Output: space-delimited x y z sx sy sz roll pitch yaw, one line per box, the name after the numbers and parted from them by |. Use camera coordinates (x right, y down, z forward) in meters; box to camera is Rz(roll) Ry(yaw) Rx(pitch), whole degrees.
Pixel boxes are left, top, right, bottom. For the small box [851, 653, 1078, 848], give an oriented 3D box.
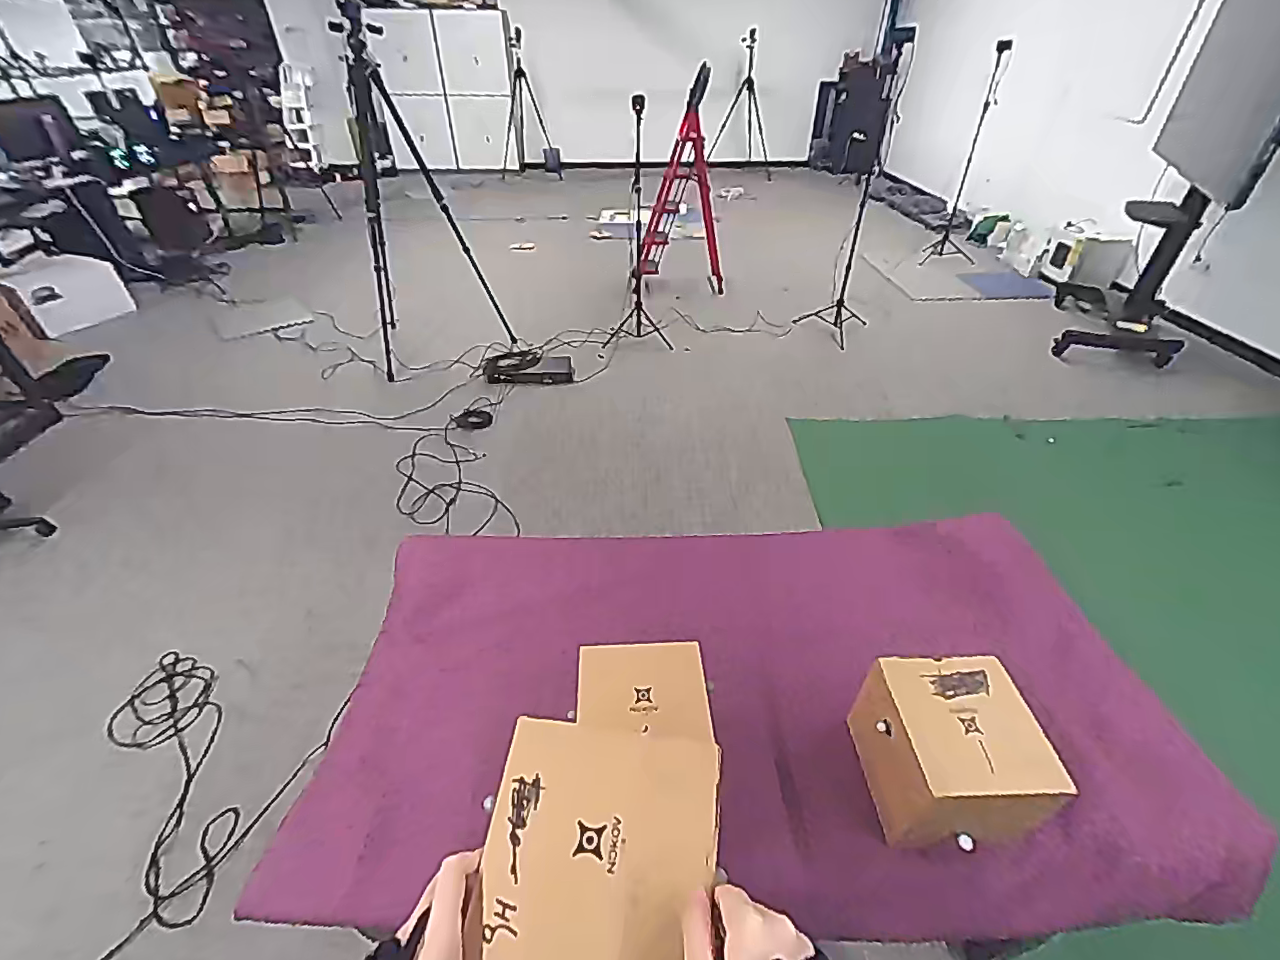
0.395 0.349 0.703 0.168 0.176 0.179 -1 39 -1 | small box

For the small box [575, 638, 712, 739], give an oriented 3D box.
0.001 0.334 0.718 0.168 0.176 0.179 -2 38 -2 | small box

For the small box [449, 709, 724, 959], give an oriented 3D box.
-0.030 0.316 0.458 0.179 0.176 0.168 6 49 5 | small box
